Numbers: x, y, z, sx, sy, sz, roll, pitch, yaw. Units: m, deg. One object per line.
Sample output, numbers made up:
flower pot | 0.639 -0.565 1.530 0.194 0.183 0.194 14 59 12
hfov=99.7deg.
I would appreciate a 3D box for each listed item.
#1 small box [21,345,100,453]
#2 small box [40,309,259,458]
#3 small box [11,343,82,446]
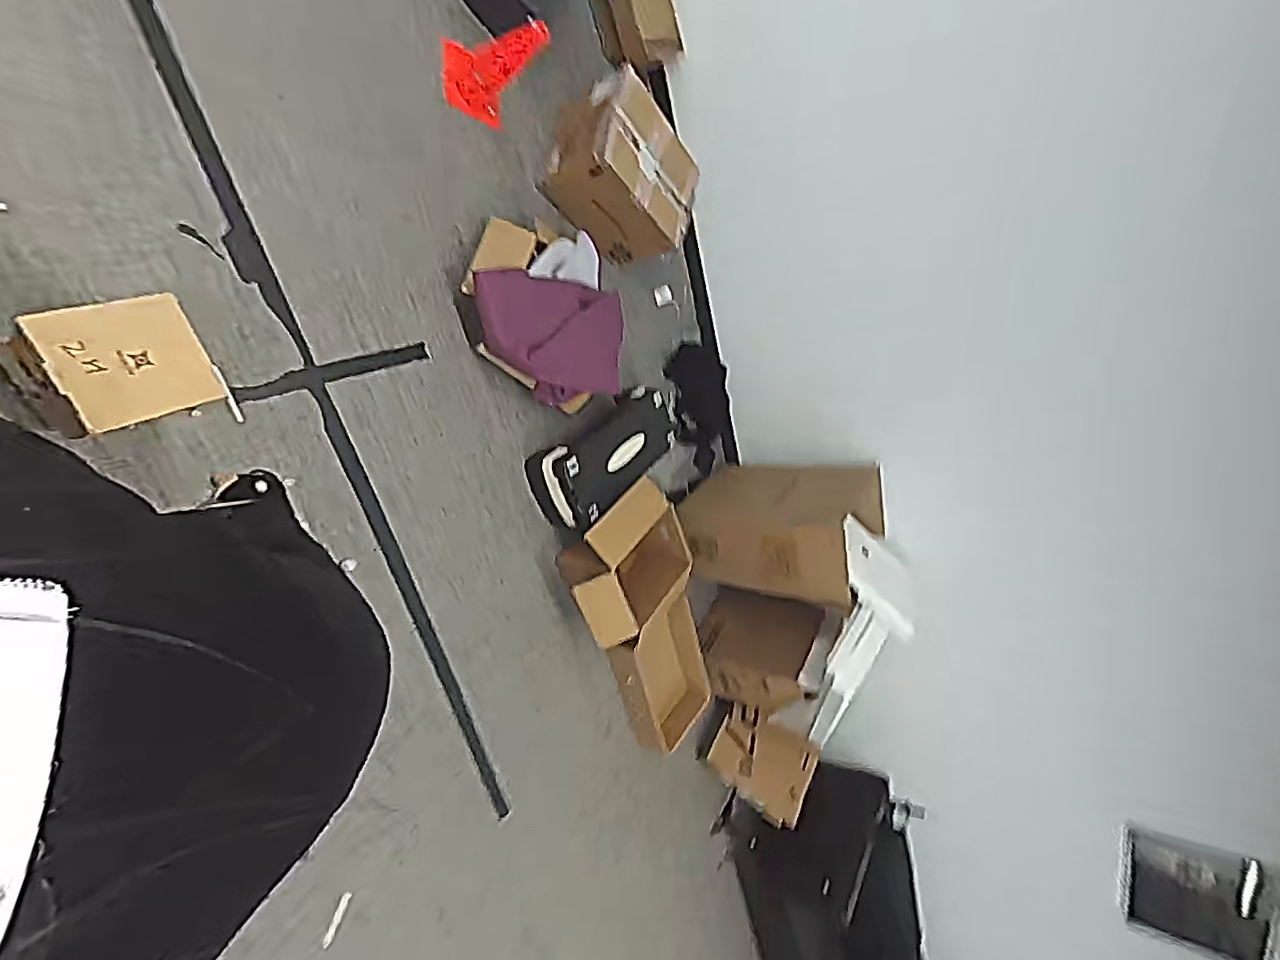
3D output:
small box | -0.854 -0.151 0.895 0.179 0.176 0.168 -43 123 -42
small box | -0.719 -0.141 0.798 0.179 0.176 0.168 -37 118 -44
small box | -0.986 -0.172 0.991 0.179 0.176 0.168 -41 121 -41
